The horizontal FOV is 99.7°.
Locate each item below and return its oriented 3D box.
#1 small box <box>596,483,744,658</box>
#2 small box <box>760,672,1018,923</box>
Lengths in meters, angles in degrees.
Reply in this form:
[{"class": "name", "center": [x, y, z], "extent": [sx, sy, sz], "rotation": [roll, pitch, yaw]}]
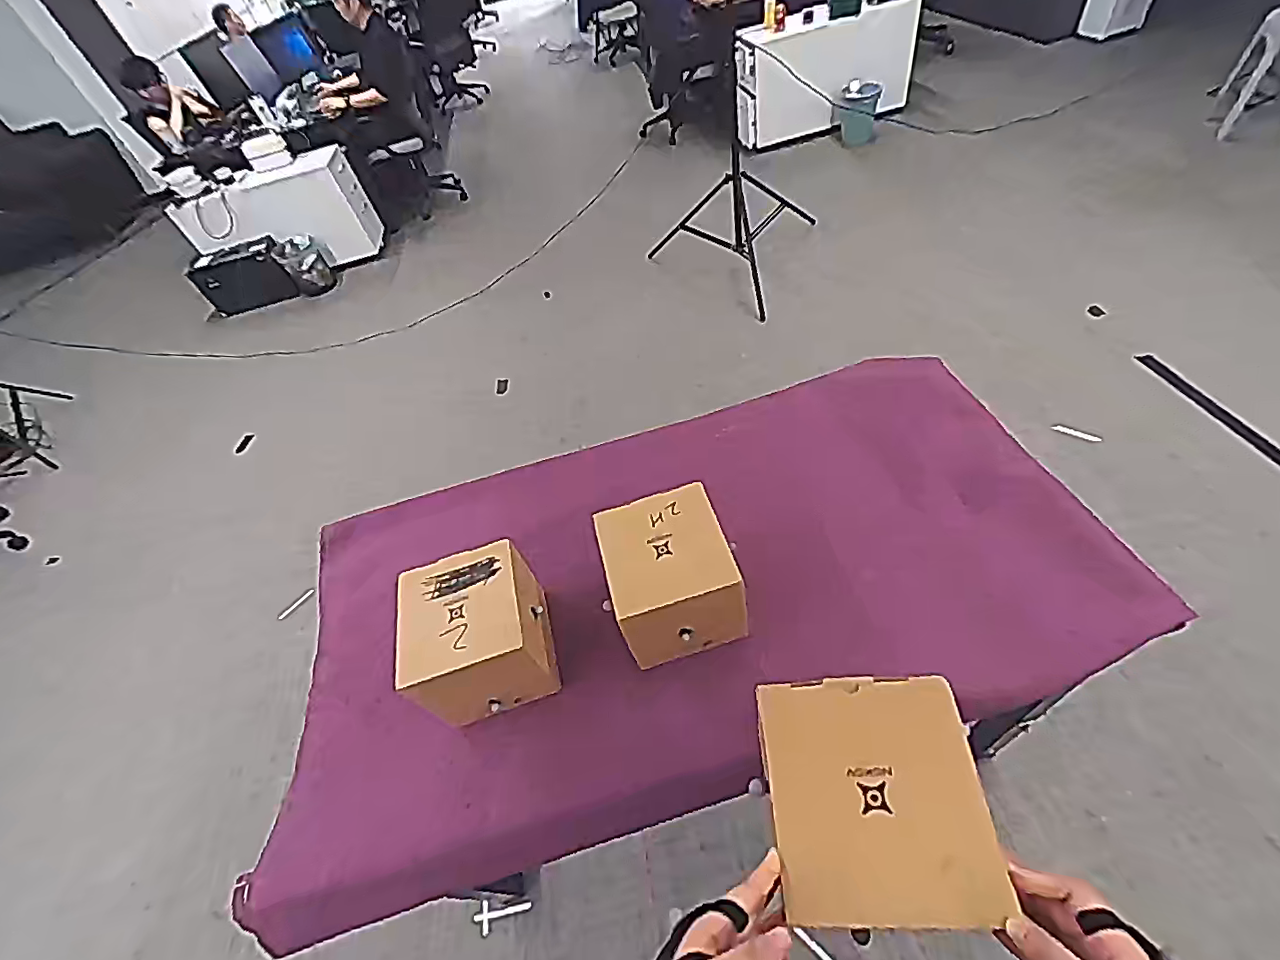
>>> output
[{"class": "small box", "center": [0.046, 0.138, 0.785], "extent": [0.168, 0.176, 0.179], "rotation": [-16, 48, -1]}, {"class": "small box", "center": [0.208, 0.295, 0.508], "extent": [0.168, 0.176, 0.179], "rotation": [-7, 53, 9]}]
